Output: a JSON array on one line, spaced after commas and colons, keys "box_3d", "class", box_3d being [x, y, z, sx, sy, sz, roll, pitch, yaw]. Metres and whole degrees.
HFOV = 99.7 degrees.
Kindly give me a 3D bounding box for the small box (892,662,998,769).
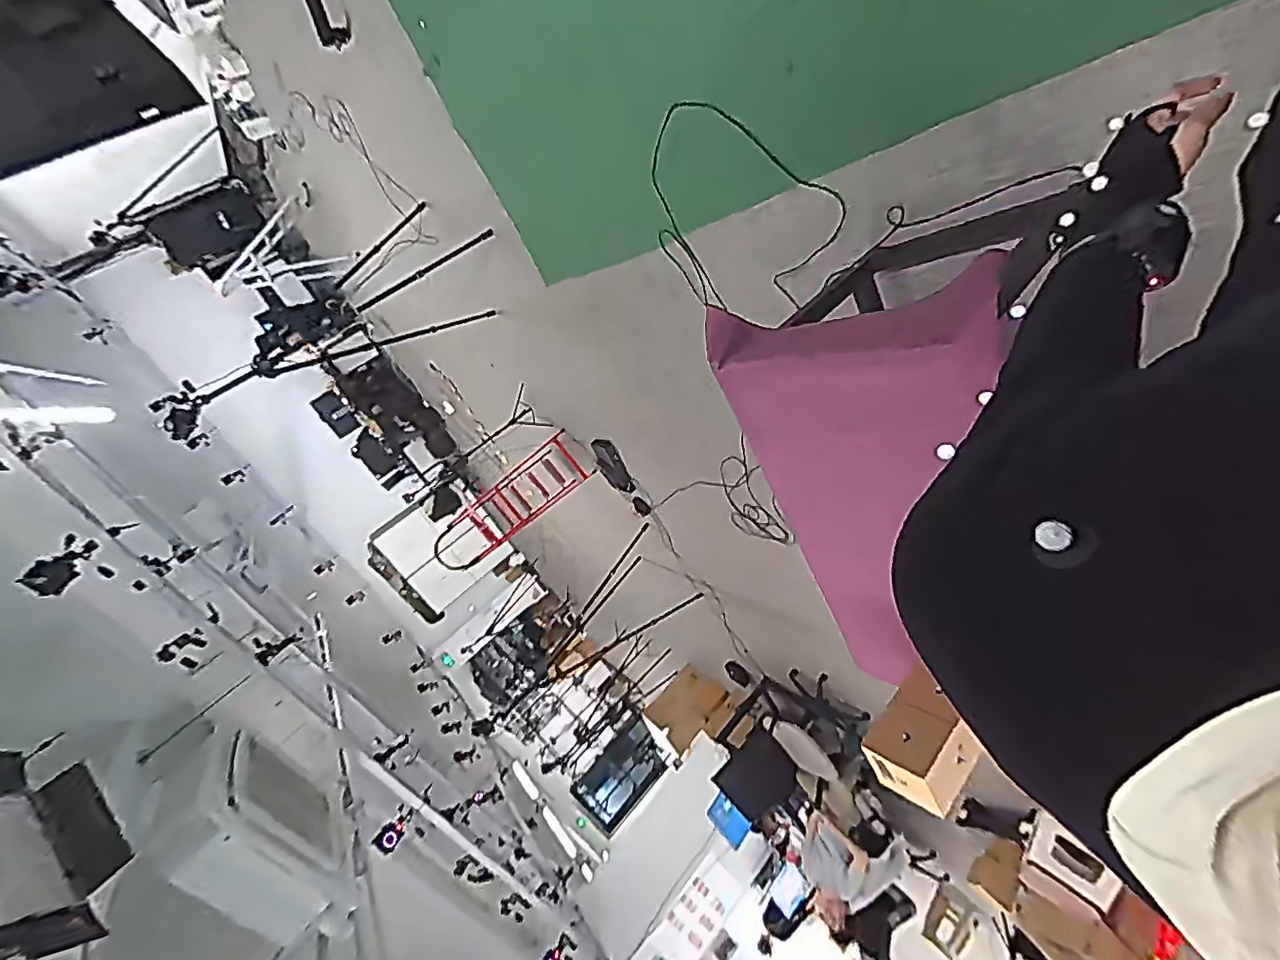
[{"box_3d": [0.818, 0.619, 1.449, 0.179, 0.176, 0.168, 6, 133, 56], "class": "small box"}]
